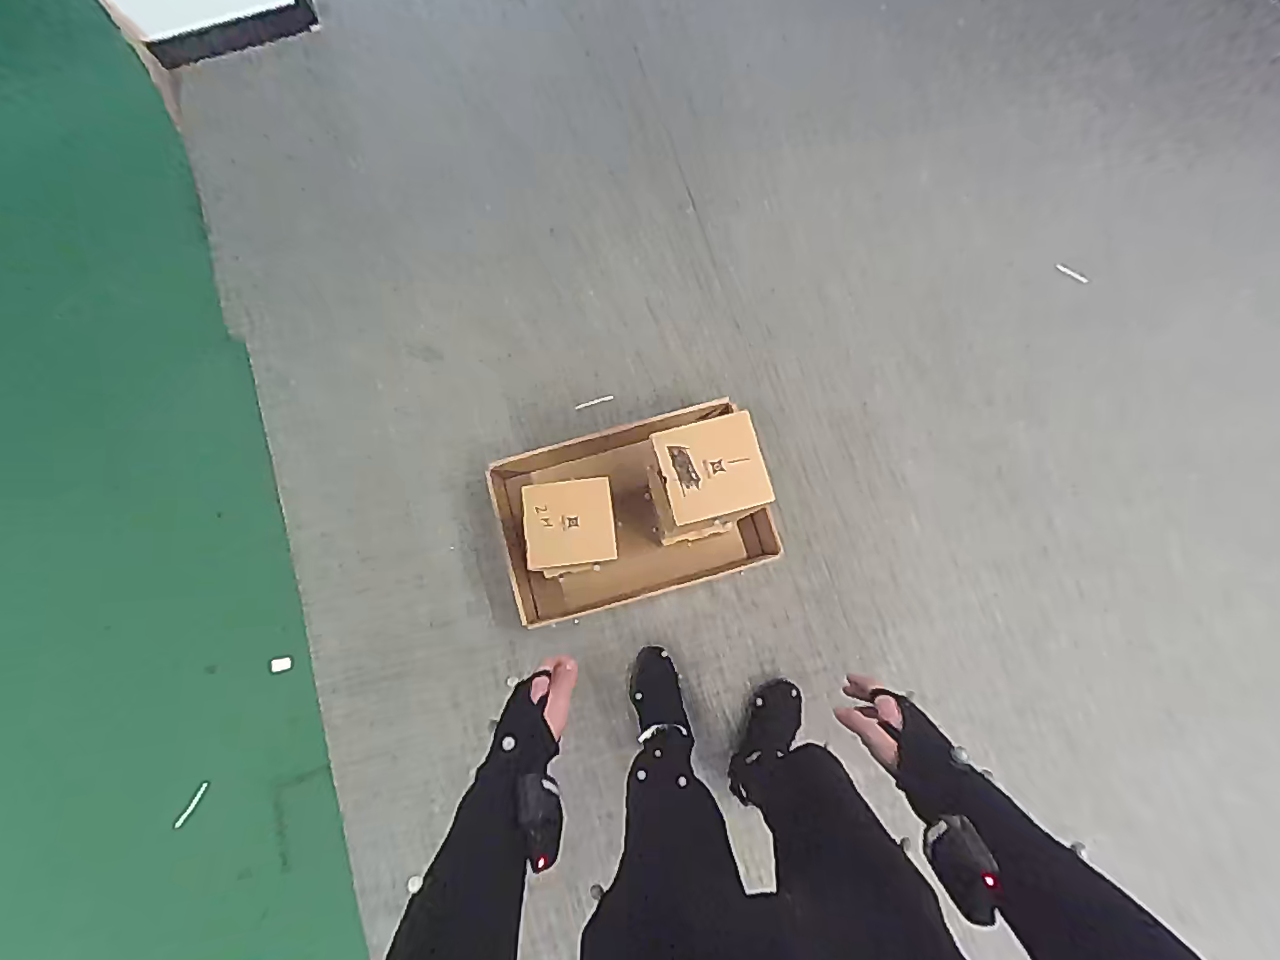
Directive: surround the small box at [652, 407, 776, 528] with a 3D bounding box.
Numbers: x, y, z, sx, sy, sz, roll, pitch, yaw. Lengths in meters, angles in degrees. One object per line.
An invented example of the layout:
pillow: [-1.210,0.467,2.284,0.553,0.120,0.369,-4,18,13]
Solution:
small box: [0.125,-0.015,0.986,0.179,0.176,0.168,-15,81,-2]
